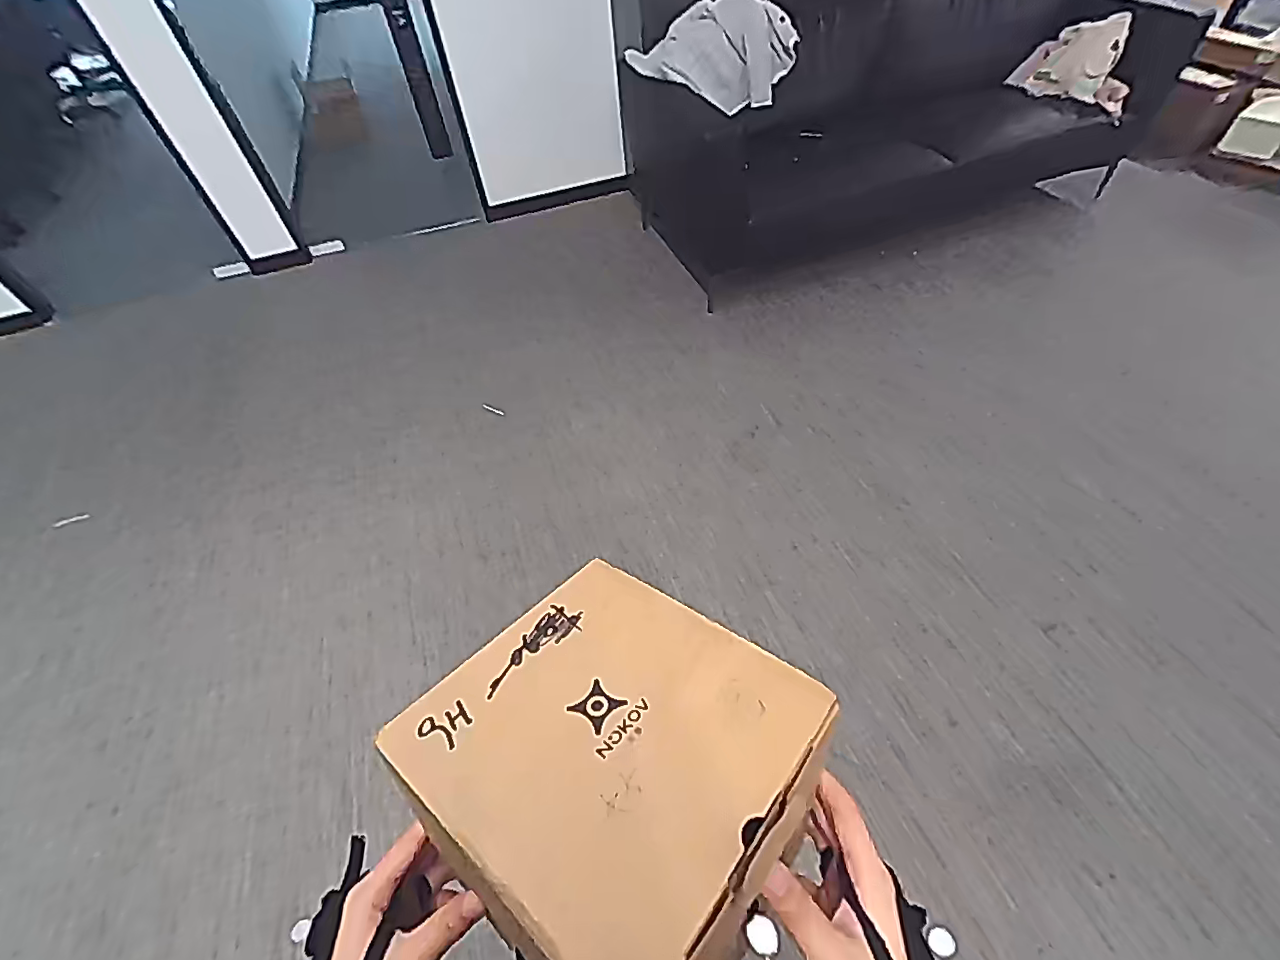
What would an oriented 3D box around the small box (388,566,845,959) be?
[{"bbox_3d":[-0.009,0.191,0.321,0.179,0.176,0.168,25,43,34],"label":"small box"}]
